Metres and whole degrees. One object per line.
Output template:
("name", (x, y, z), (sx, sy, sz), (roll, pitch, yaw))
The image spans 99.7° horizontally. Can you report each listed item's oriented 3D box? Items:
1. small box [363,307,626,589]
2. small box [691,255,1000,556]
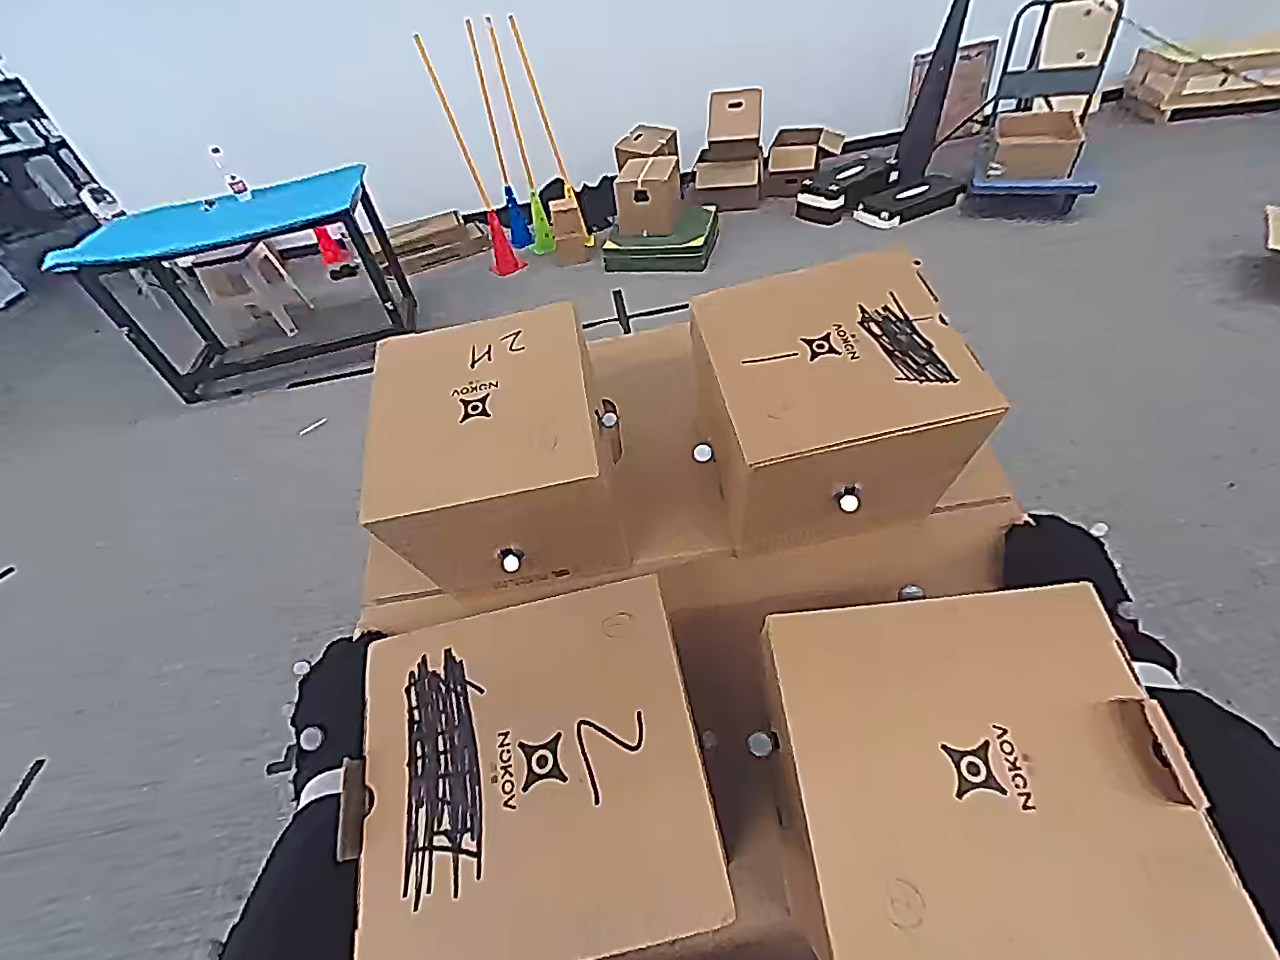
("small box", (-0.111, -0.015, 0.474), (0.168, 0.176, 0.179), (-11, 59, 1))
("small box", (0.147, -0.052, 0.458), (0.179, 0.176, 0.168), (-13, 60, 2))
